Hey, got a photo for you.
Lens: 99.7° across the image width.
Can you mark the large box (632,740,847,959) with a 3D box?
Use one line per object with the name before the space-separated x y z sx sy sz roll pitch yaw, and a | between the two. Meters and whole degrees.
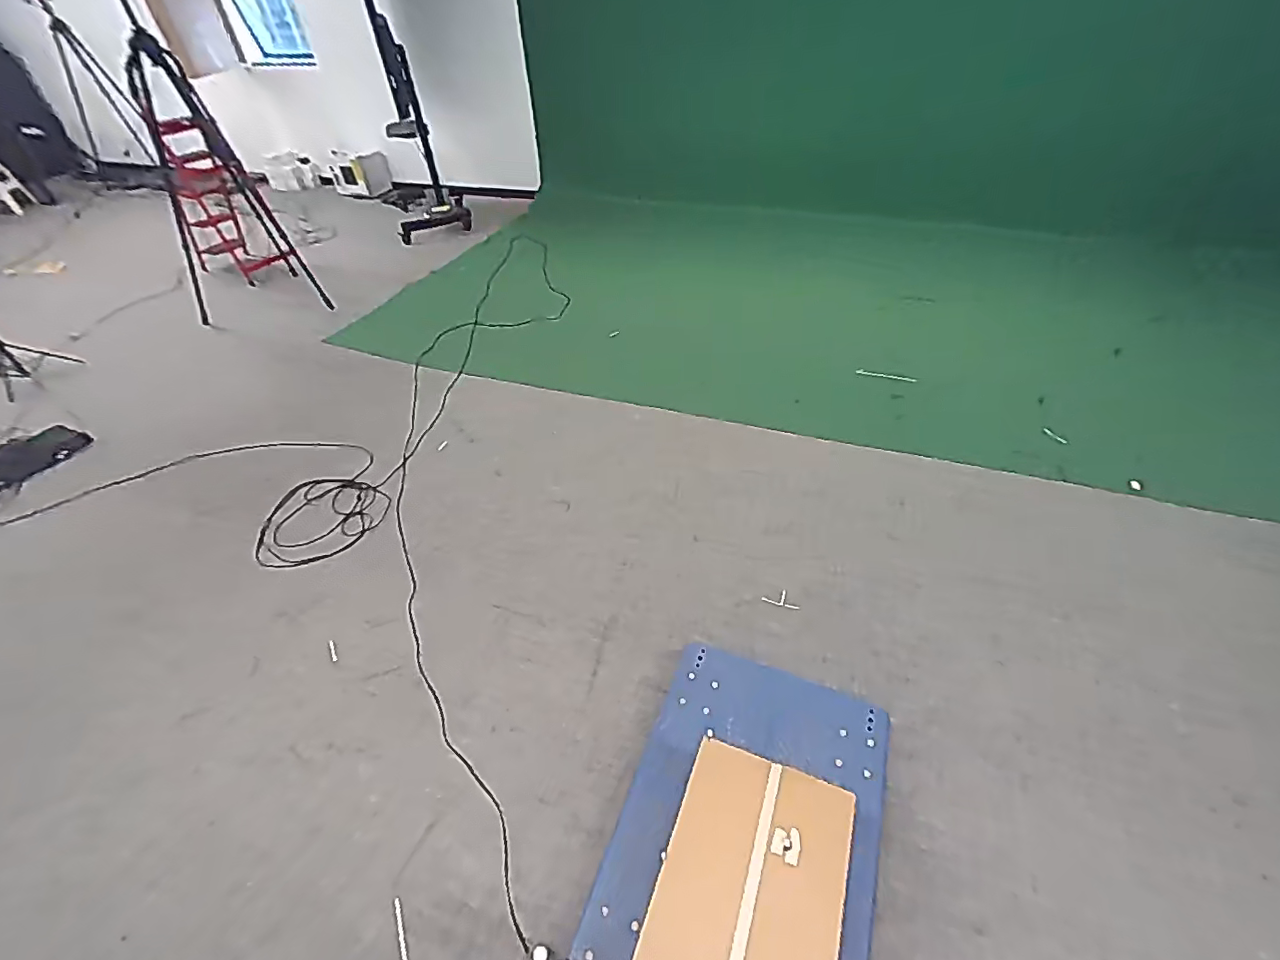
large box | 0.201 0.826 1.076 0.320 0.320 0.408 15 45 17
